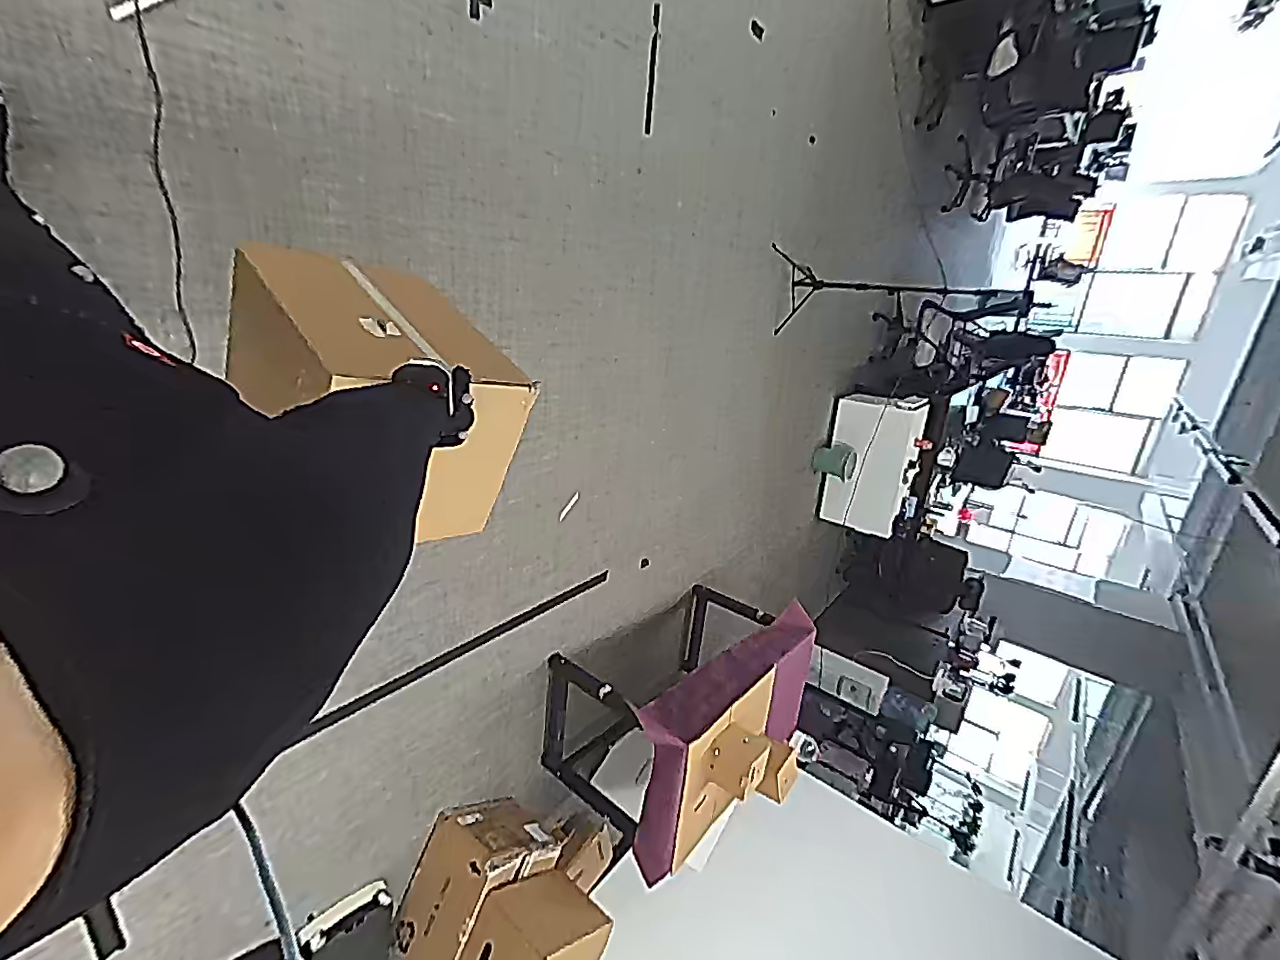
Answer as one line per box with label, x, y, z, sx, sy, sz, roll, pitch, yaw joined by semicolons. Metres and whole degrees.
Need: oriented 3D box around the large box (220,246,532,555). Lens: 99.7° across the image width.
large box;-0.464;-0.136;0.927;0.320;0.408;0.320;-8;134;-50
